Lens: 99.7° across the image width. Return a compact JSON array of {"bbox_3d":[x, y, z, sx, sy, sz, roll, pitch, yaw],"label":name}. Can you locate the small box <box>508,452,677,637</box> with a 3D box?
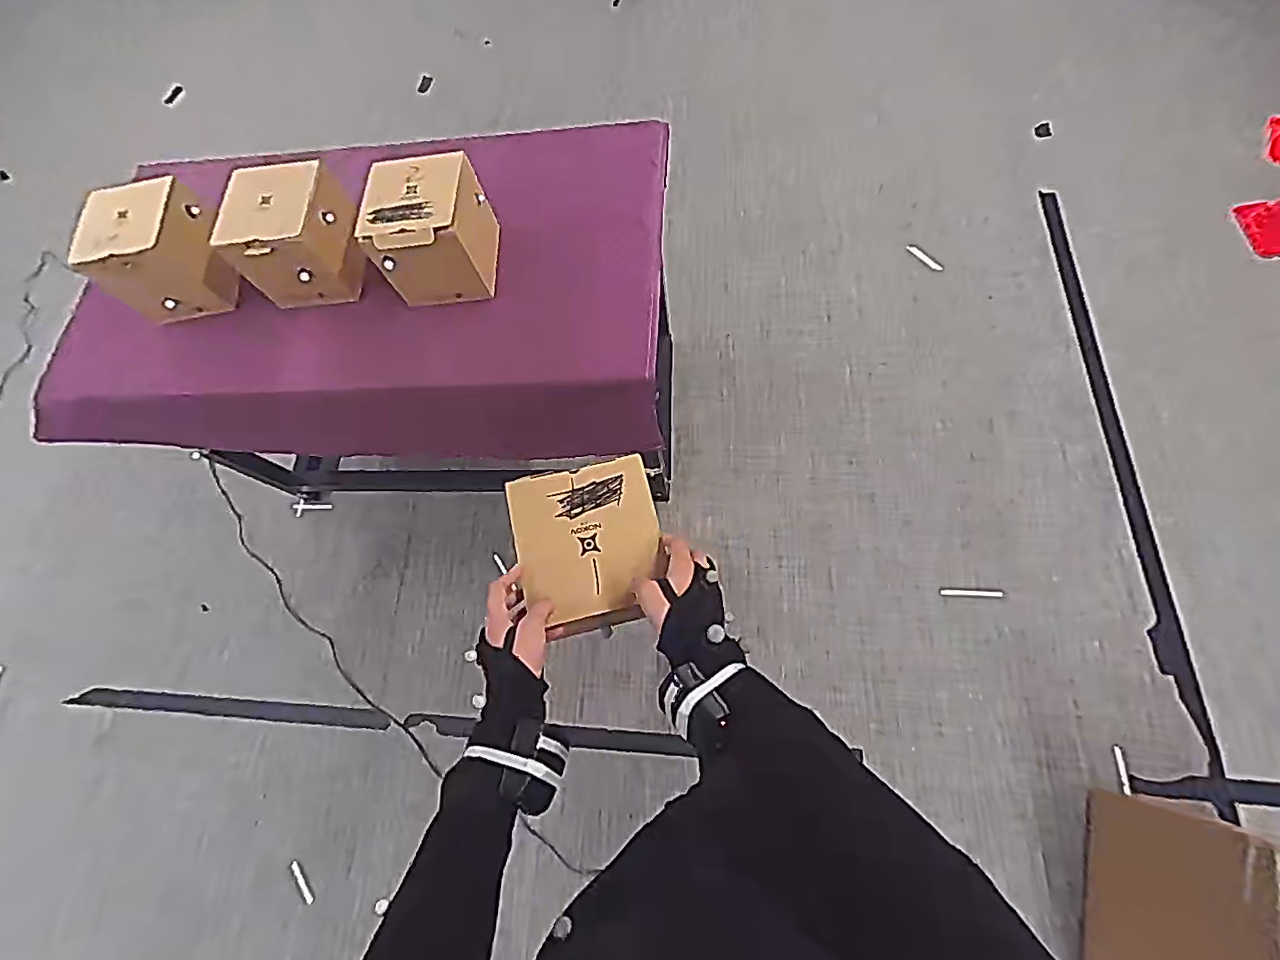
[{"bbox_3d":[-0.059,0.088,0.681,0.168,0.176,0.179,-12,71,-5],"label":"small box"}]

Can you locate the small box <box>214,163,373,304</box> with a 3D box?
[{"bbox_3d":[-0.622,-0.442,0.997,0.168,0.176,0.179,-2,69,6],"label":"small box"}]

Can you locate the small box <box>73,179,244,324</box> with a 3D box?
[{"bbox_3d":[-0.890,-0.425,1.024,0.168,0.176,0.179,-9,69,5],"label":"small box"}]
